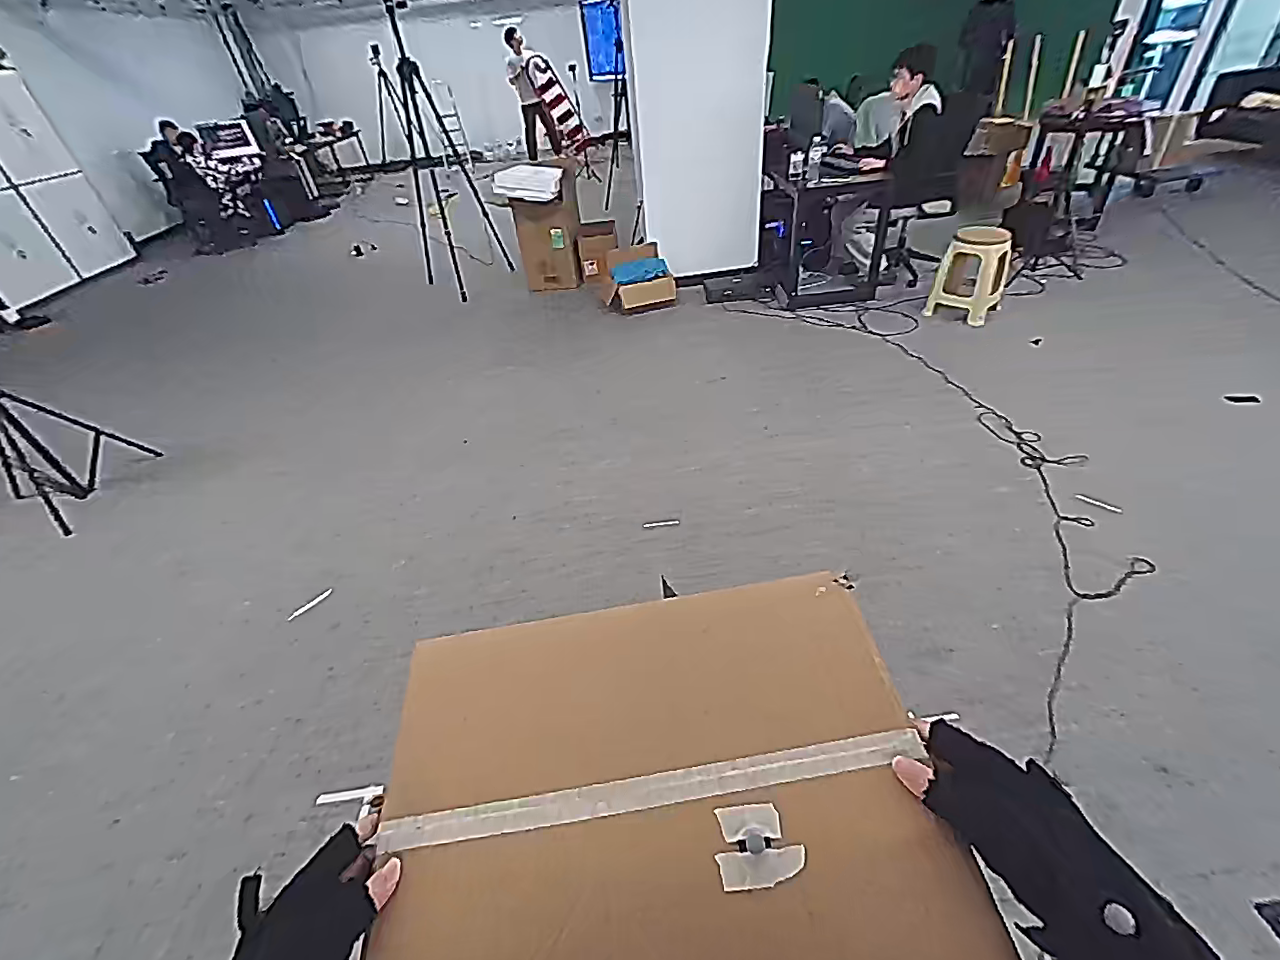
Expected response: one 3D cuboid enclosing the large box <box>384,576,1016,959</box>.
[{"bbox_3d":[0.029,0.337,0.520,0.408,0.320,0.320,-10,47,-1],"label":"large box"}]
